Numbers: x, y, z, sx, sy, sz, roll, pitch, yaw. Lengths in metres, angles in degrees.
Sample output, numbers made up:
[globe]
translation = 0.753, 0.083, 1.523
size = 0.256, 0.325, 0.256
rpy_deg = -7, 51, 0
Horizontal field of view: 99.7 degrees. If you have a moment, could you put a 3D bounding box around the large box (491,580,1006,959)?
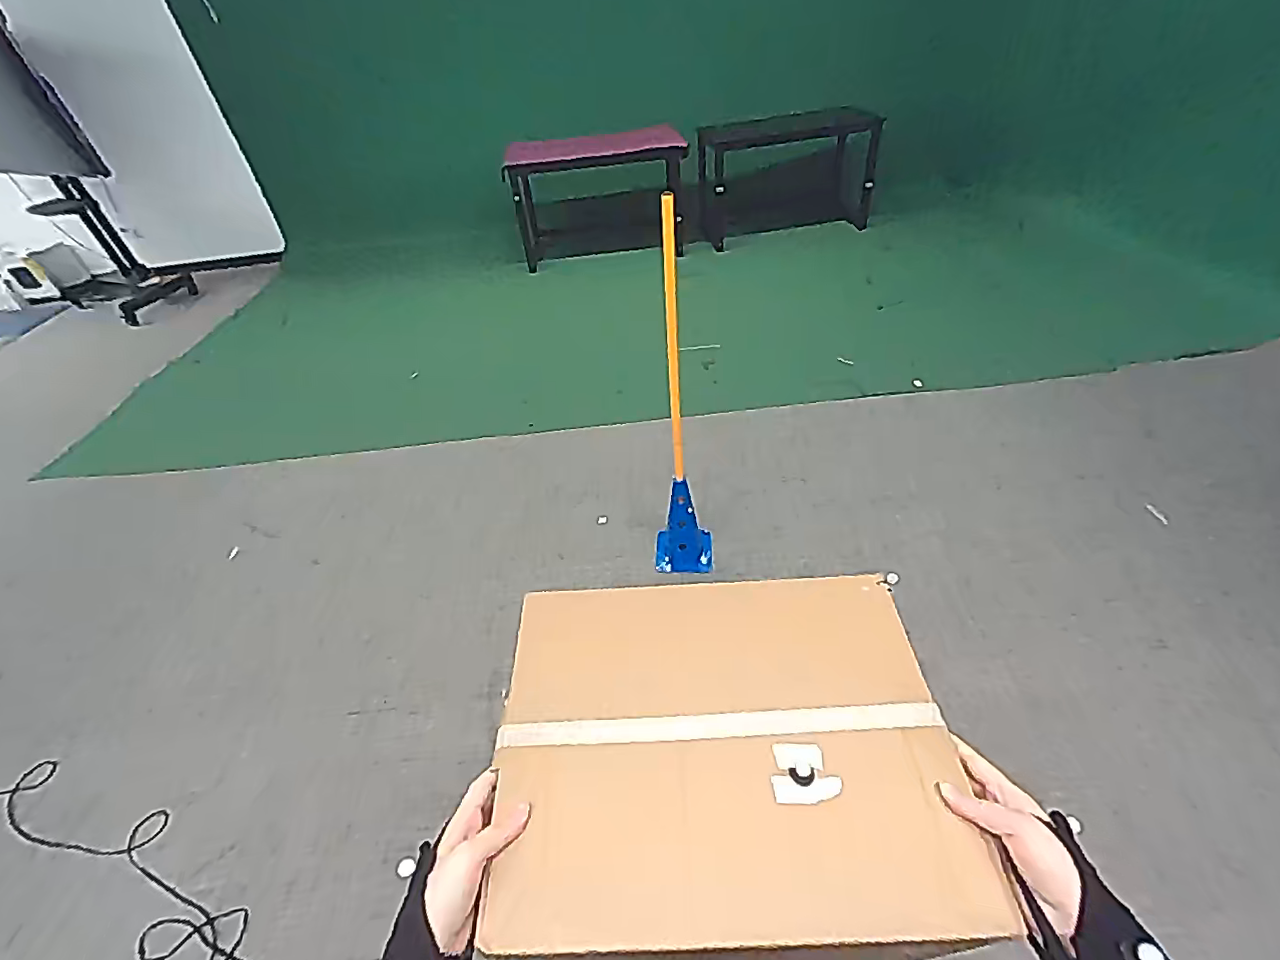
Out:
[large box]
translation = 0.082, 0.339, 0.617
size = 0.408, 0.320, 0.320
rpy_deg = -3, 45, 1

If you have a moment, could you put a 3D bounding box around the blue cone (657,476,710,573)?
[blue cone]
translation = 0.144, 0.144, 1.872
size = 0.193, 0.380, 0.192
rpy_deg = 0, 41, 7
